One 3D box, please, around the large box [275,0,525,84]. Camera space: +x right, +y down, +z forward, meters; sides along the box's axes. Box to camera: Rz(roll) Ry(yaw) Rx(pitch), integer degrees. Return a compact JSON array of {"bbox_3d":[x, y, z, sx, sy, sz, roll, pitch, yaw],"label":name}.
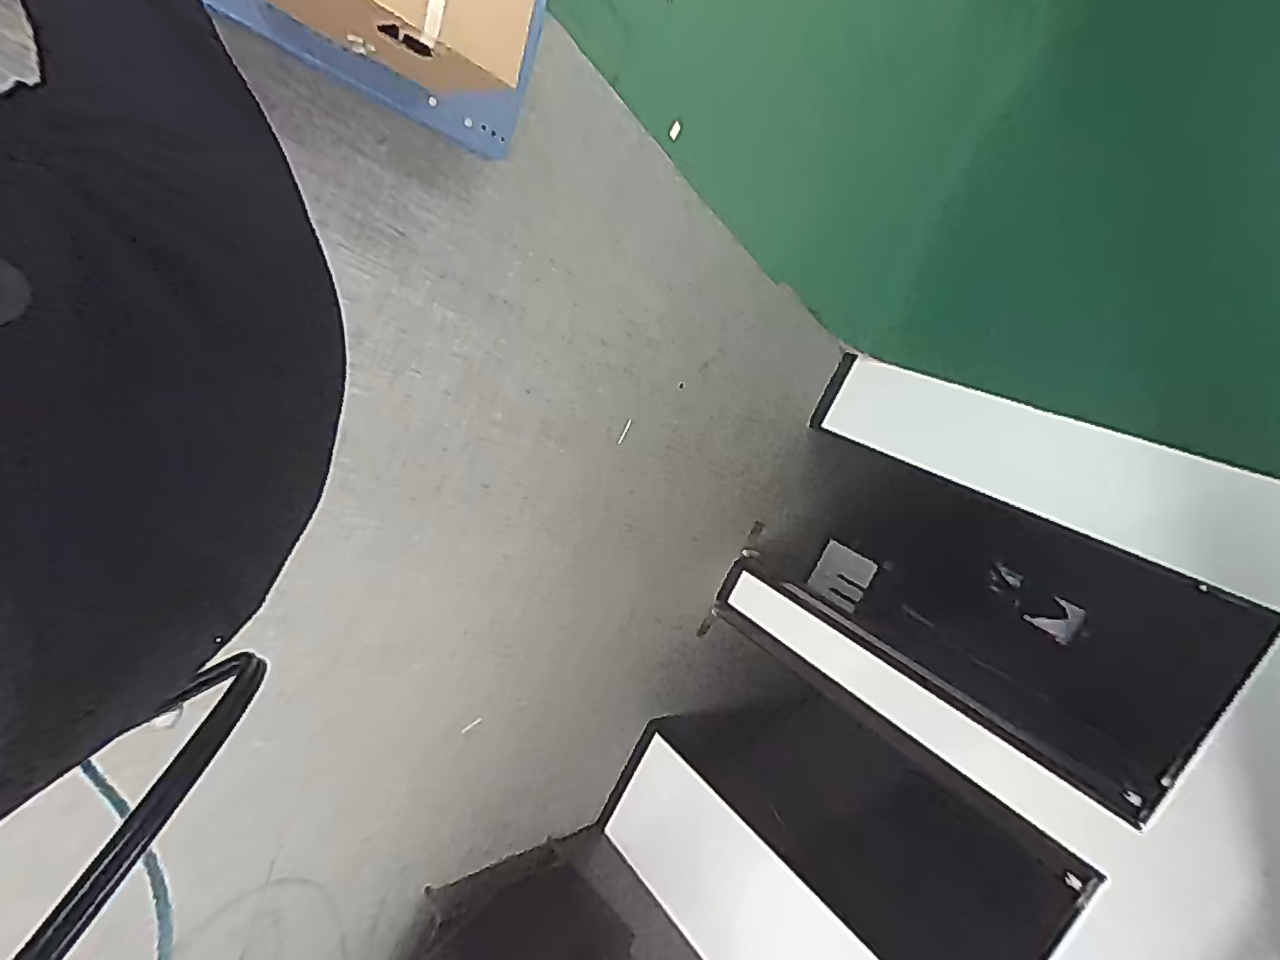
[{"bbox_3d":[-0.366,-0.920,0.839,0.320,0.320,0.408,0,114,-47],"label":"large box"}]
